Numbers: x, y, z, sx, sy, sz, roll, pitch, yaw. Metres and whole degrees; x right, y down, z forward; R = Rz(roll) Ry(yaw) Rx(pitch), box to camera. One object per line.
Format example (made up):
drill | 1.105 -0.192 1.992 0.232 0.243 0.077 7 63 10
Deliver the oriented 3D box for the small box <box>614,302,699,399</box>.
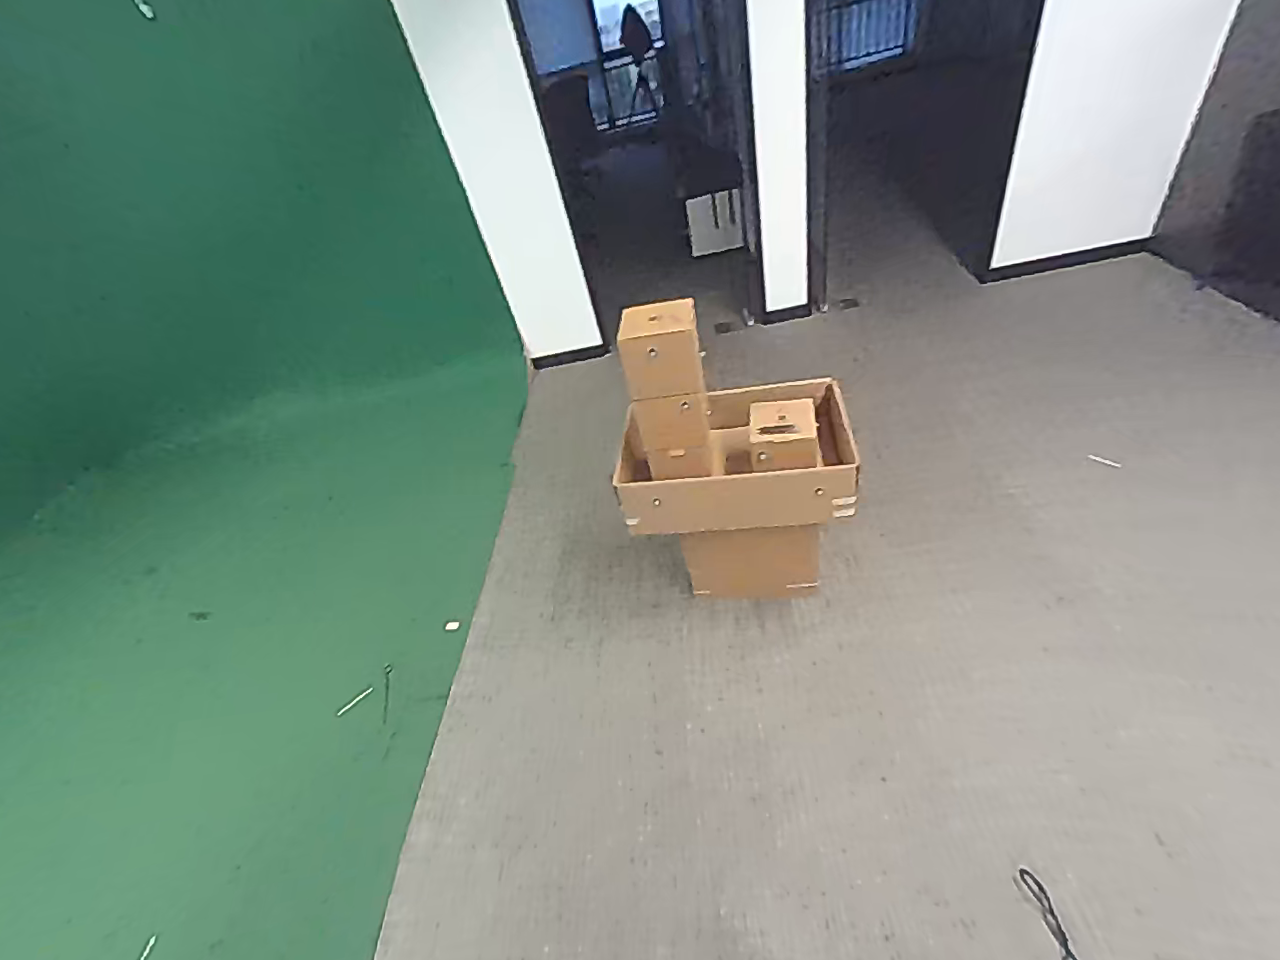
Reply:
small box | 0.047 -0.312 1.325 0.179 0.176 0.168 -5 42 10

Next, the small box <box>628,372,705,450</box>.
small box | 0.077 -0.192 1.434 0.179 0.176 0.168 -5 42 10
